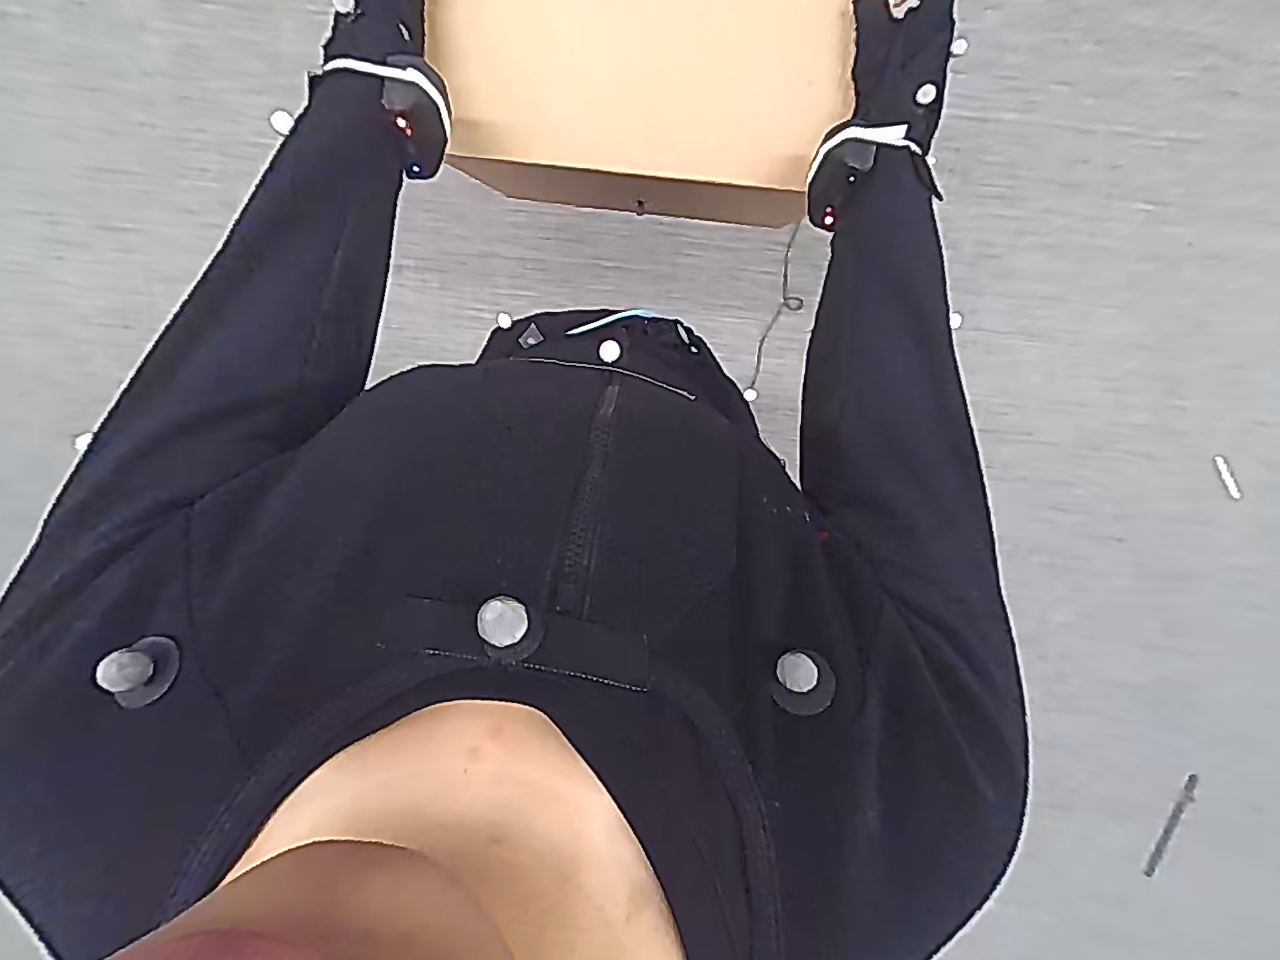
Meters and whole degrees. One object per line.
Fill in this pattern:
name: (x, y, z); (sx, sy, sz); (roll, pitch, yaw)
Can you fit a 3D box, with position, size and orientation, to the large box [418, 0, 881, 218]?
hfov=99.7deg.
large box: (0.017, -0.484, 0.593); (0.408, 0.320, 0.320); (6, 109, 1)
